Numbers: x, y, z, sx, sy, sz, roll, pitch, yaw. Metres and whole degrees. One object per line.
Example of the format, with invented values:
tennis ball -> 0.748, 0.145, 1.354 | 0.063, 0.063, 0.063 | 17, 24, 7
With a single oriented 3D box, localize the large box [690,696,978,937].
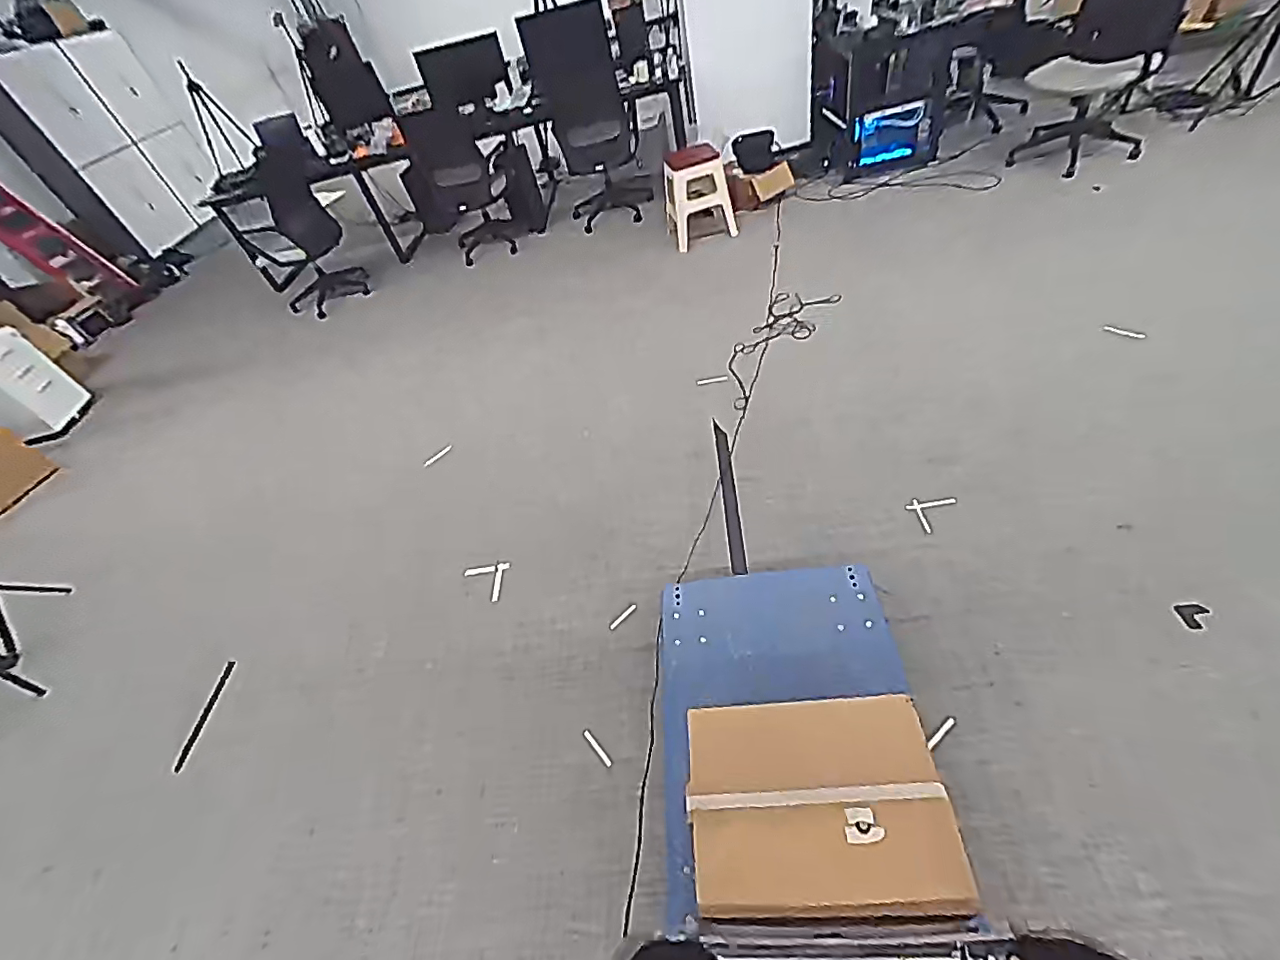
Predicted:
large box -> 0.319, 0.632, 1.007 | 0.408, 0.320, 0.320 | -8, 46, 8
